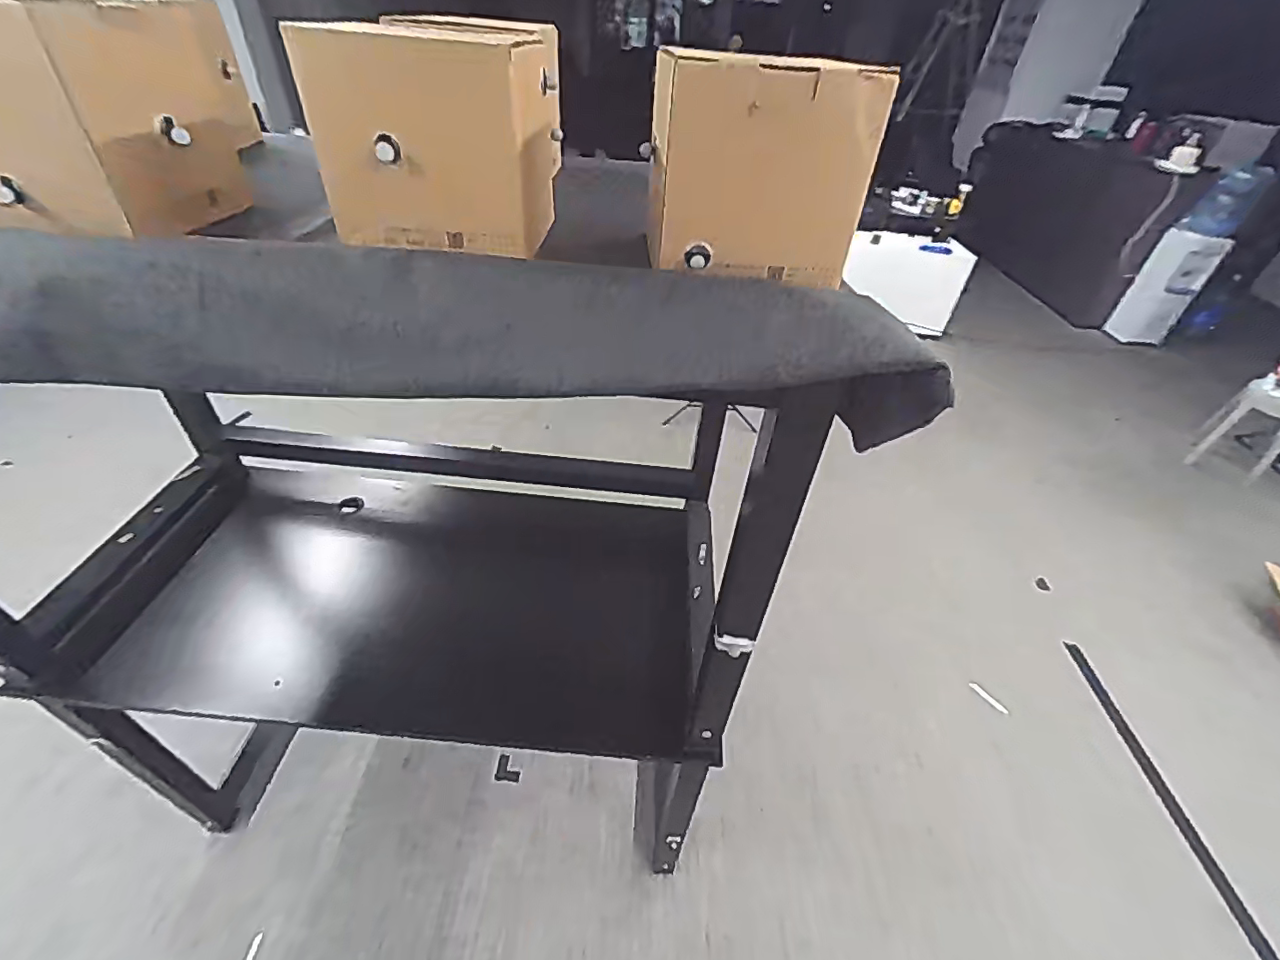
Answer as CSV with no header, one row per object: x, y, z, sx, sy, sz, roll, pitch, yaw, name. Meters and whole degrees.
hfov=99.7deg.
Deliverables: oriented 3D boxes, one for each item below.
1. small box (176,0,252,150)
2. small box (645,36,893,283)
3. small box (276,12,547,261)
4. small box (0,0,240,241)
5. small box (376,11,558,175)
-0.643,-0.522,0.695,0.168,0.176,0.179,0,41,-5,small box
0.094,-0.290,0.492,0.168,0.176,0.179,1,39,-4,small box
-0.180,-0.314,0.498,0.168,0.176,0.179,3,39,-2,small box
-0.503,-0.320,0.470,0.179,0.176,0.168,5,39,-2,small box
-0.211,-0.502,0.715,0.179,0.176,0.168,5,41,0,small box
